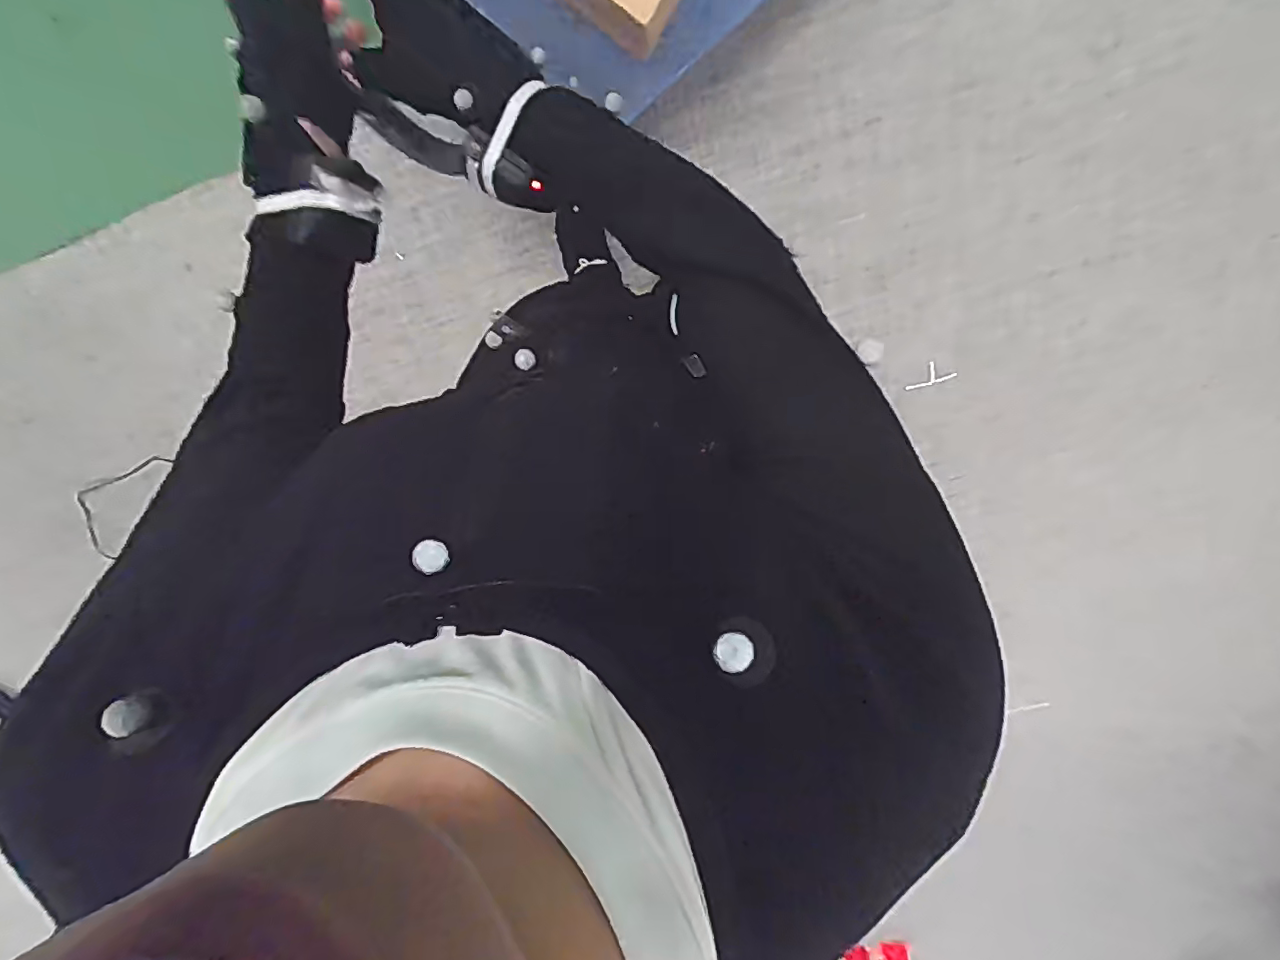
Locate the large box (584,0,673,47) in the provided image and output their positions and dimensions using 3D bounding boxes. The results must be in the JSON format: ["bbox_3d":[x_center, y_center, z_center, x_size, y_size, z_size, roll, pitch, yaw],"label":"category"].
[{"bbox_3d":[-0.075,-0.886,0.716,0.408,0.320,0.320,30,116,-16],"label":"large box"}]
